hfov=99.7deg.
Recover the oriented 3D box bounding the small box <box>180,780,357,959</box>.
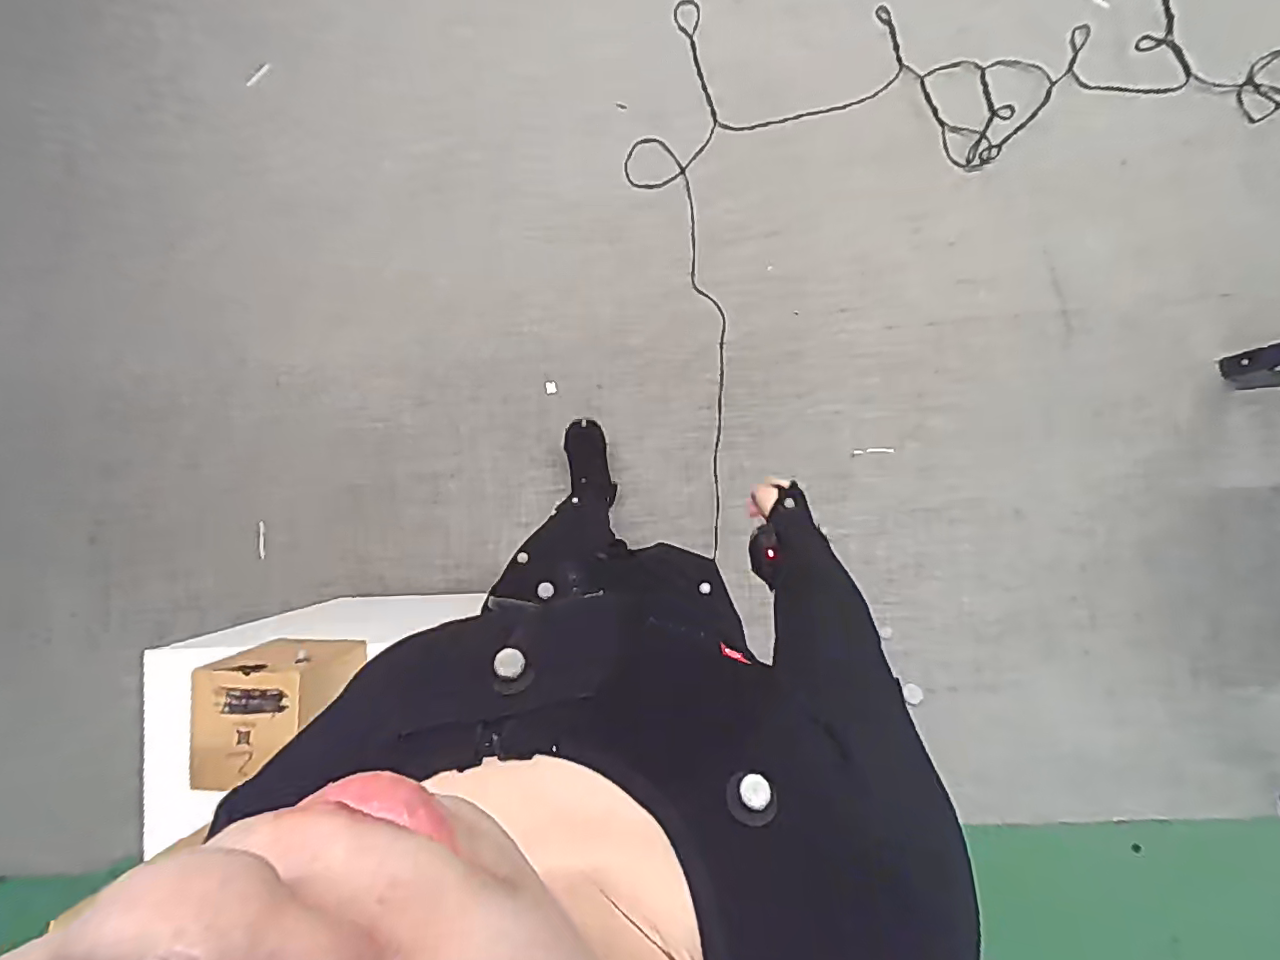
[{"bbox_3d":[-0.562,0.595,0.836,0.168,0.176,0.179,-4,87,3],"label":"small box"}]

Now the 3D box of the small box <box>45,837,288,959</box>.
[{"bbox_3d":[-0.574,0.587,0.674,0.168,0.176,0.179,-2,85,4],"label":"small box"}]
